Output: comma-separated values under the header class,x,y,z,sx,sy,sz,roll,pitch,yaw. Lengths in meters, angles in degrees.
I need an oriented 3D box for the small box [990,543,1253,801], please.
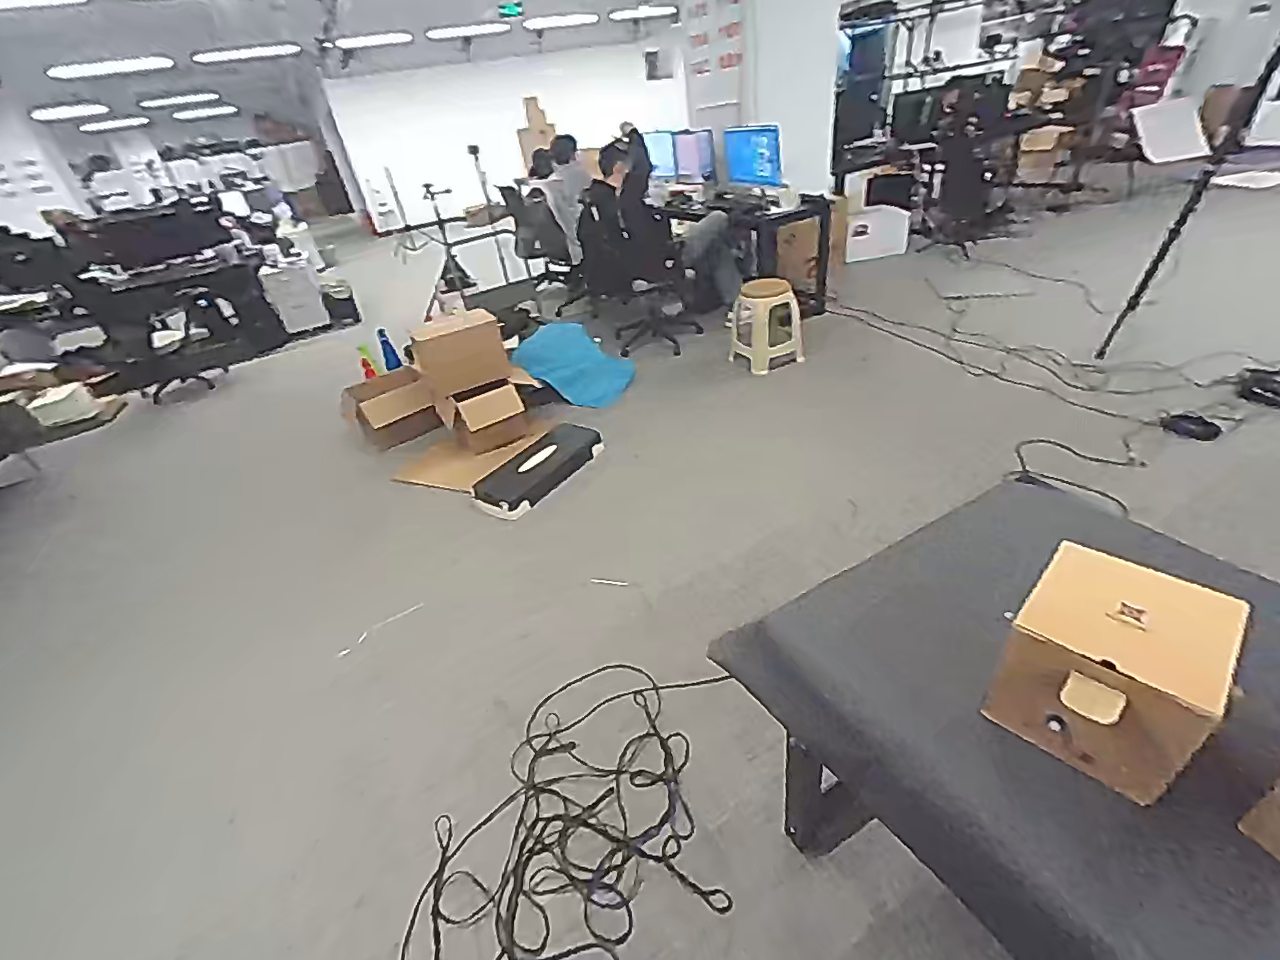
class,x,y,z,sx,sy,sz,roll,pitch,yaw
small box,0.532,0.210,0.615,0.179,0.176,0.168,-33,41,-31
